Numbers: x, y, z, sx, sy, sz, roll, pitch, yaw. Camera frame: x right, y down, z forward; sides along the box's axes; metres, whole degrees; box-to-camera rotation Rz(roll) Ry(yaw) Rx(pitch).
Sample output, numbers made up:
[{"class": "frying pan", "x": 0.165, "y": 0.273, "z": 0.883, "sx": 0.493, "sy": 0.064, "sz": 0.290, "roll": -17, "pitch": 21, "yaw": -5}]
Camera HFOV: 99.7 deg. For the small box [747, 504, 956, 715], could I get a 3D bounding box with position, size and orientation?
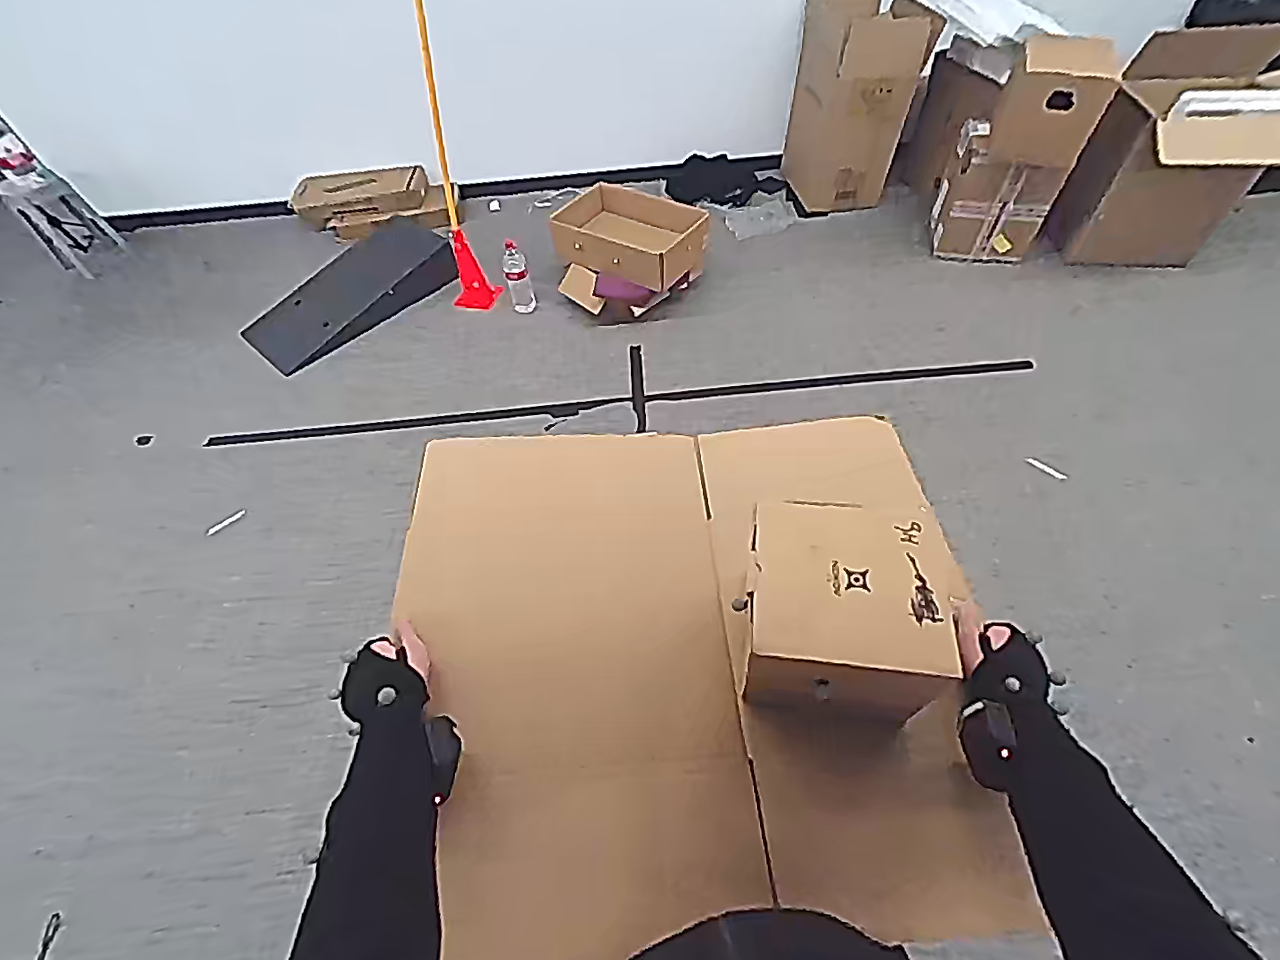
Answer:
[{"class": "small box", "x": 0.207, "y": 0.142, "z": 0.581, "sx": 0.179, "sy": 0.176, "sz": 0.168, "roll": 3, "pitch": 55, "yaw": 11}]
